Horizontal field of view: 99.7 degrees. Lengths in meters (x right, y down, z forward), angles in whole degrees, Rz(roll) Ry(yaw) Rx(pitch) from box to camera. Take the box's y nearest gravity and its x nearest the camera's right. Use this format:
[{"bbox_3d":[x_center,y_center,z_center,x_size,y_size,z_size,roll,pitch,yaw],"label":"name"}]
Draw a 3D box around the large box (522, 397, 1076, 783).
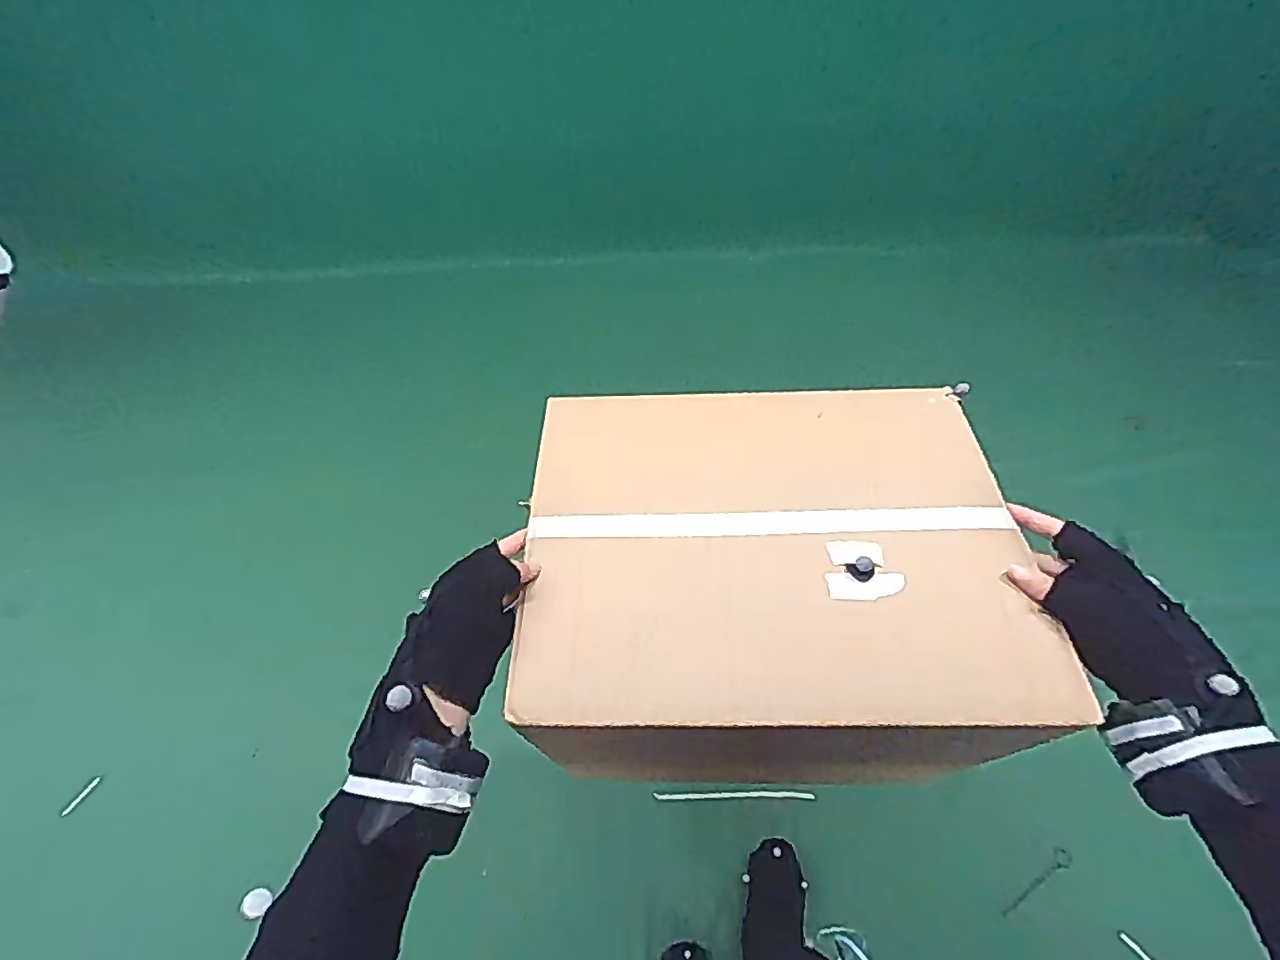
[{"bbox_3d":[0.115,0.133,0.591,0.408,0.320,0.320,-2,55,2],"label":"large box"}]
